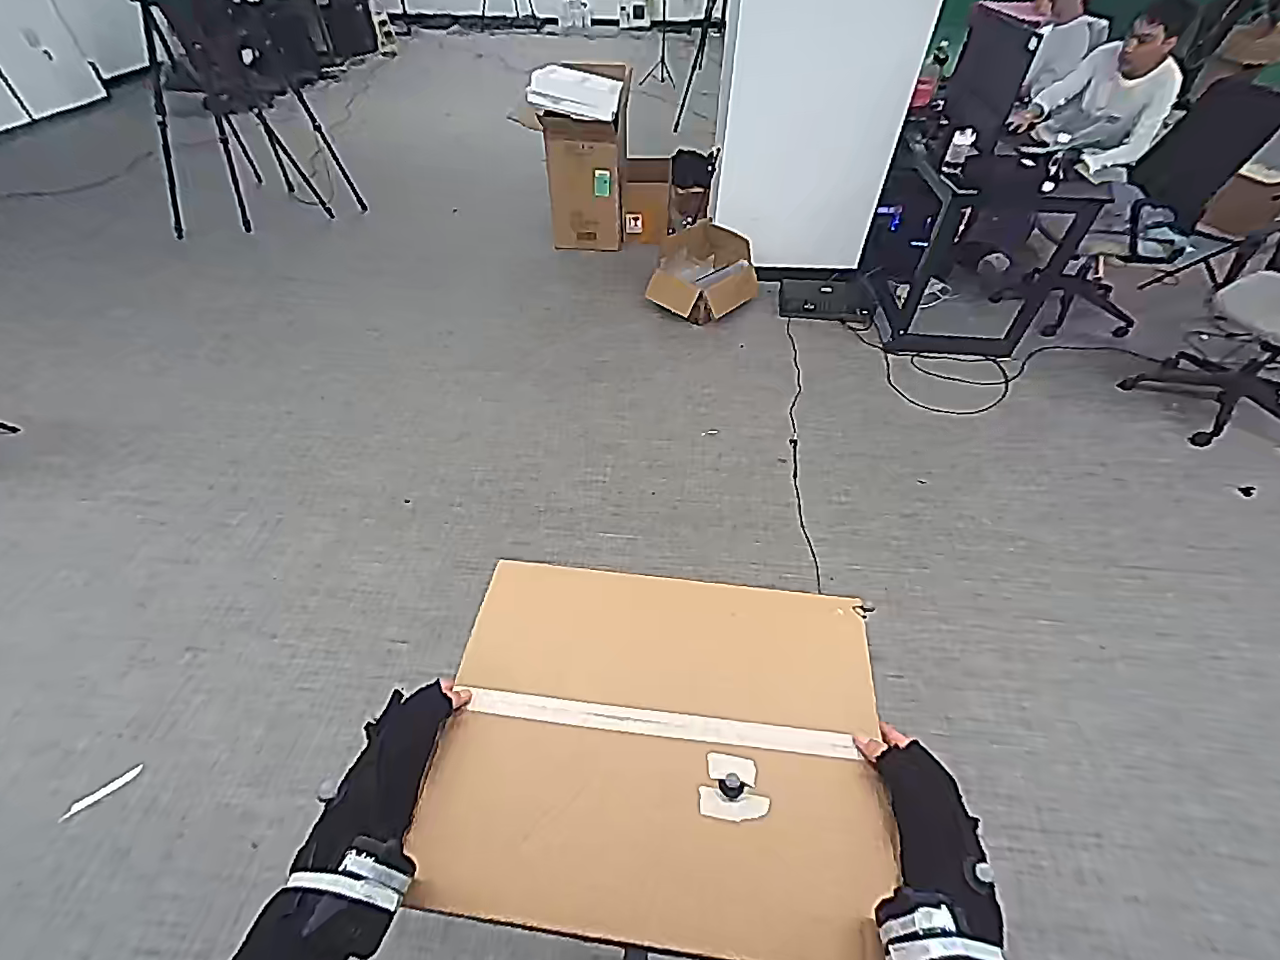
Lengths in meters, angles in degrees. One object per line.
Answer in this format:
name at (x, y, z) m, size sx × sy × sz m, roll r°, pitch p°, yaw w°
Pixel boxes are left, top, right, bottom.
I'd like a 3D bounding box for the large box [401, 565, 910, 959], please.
large box at (0.020, 0.327, 0.621) m, size 0.408 × 0.320 × 0.320 m, roll 6°, pitch 50°, yaw 5°
